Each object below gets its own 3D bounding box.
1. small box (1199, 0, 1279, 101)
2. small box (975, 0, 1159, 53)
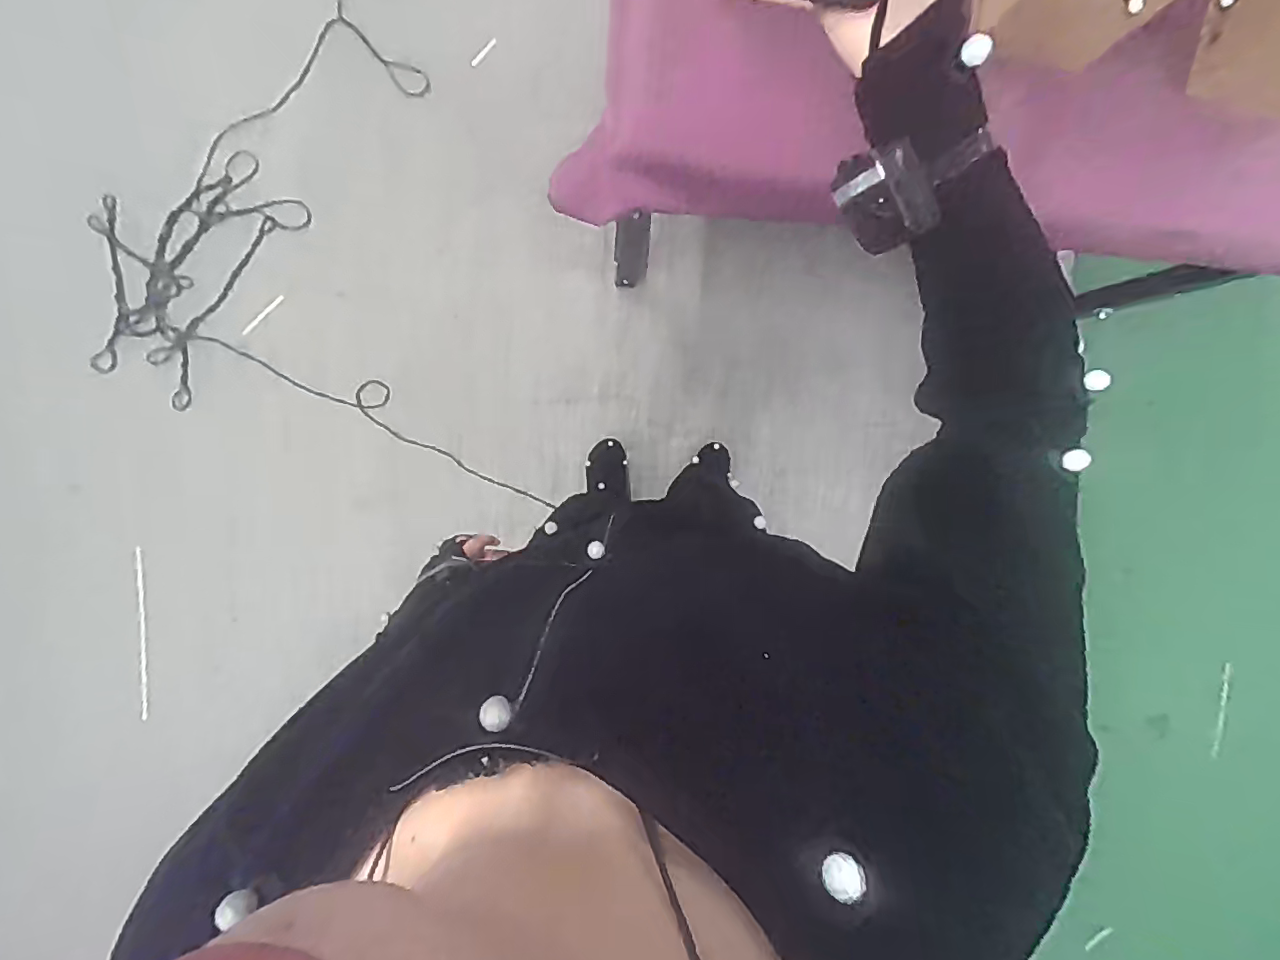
[{"bbox_3d":[0.894,-0.622,0.686,0.179,0.176,0.168,12,93,-4],"label":"small box"},{"bbox_3d":[0.557,-0.670,0.660,0.179,0.176,0.168,6,94,-4],"label":"small box"}]
